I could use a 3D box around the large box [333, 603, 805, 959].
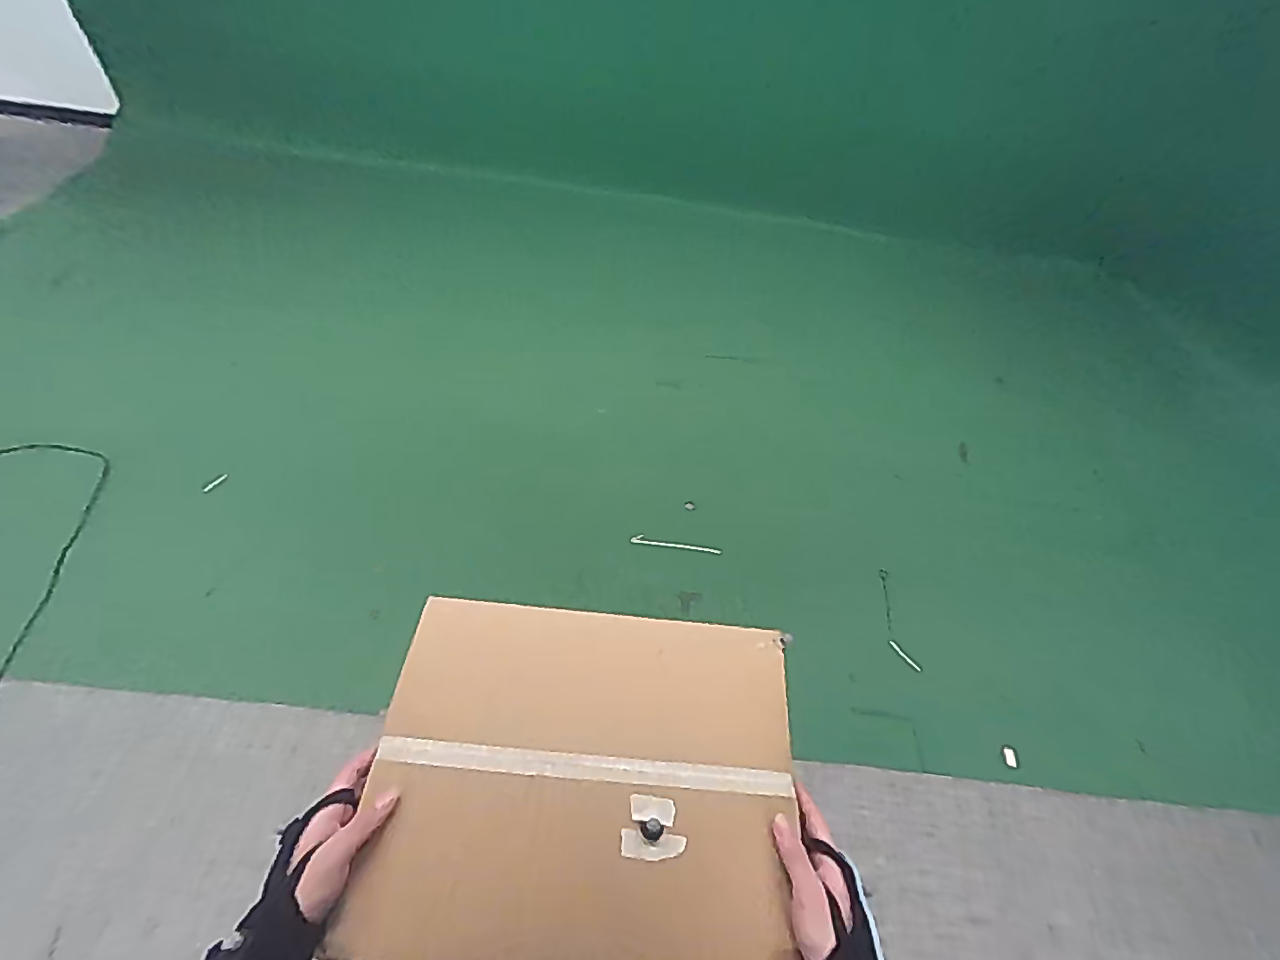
[{"bbox_3d":[-0.061,0.371,0.655,0.408,0.320,0.320,6,53,-1],"label":"large box"}]
